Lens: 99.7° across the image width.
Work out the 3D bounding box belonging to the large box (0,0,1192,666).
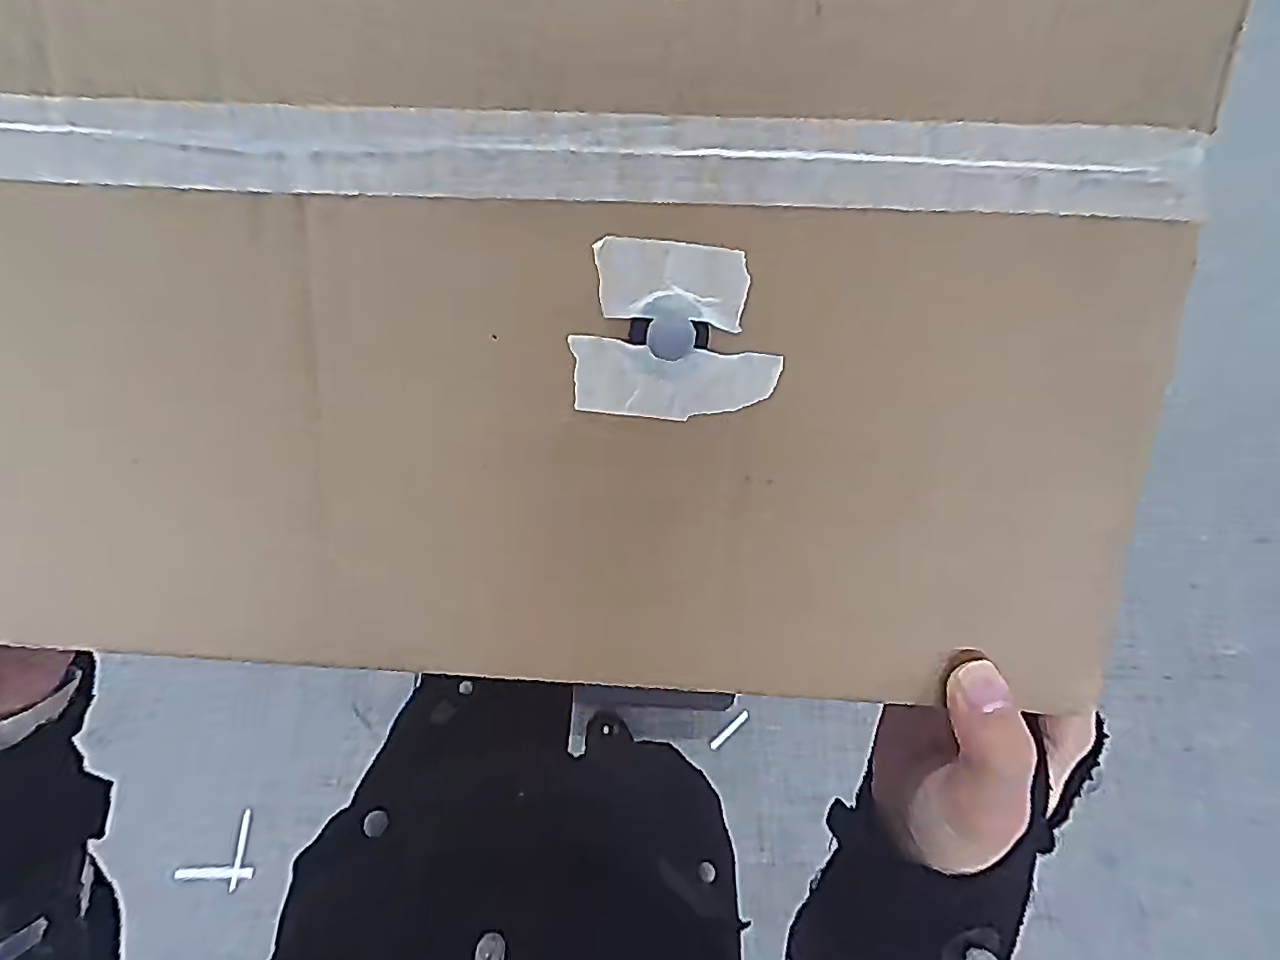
[{"bbox_3d":[-0.048,-0.117,0.310,0.408,0.320,0.320,3,101,1],"label":"large box"}]
